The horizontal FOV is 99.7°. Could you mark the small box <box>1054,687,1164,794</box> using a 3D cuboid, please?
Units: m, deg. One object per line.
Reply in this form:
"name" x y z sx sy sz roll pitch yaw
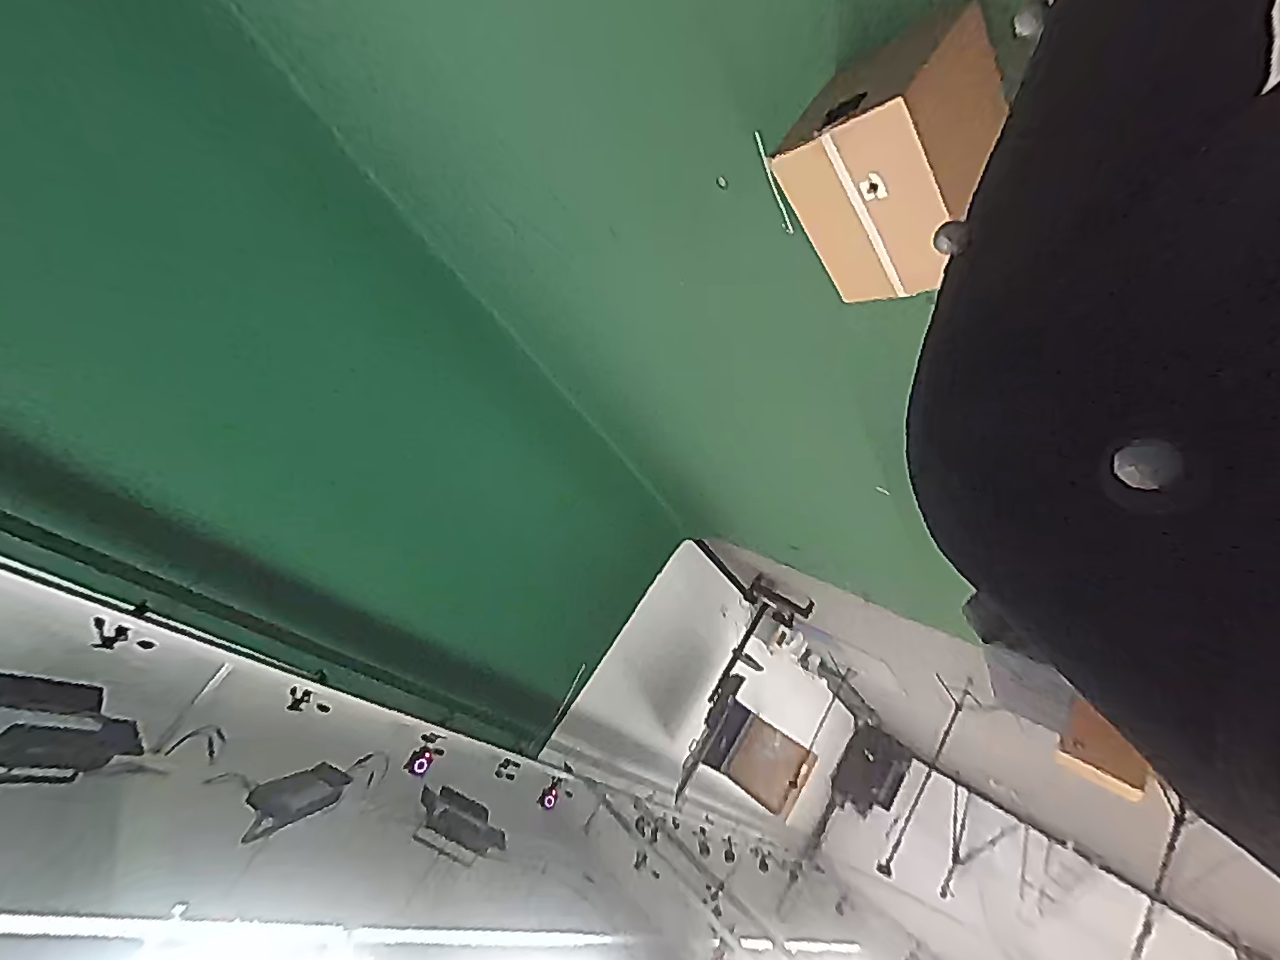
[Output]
"small box" 1.202 0.666 1.390 0.179 0.176 0.168 22 161 44
